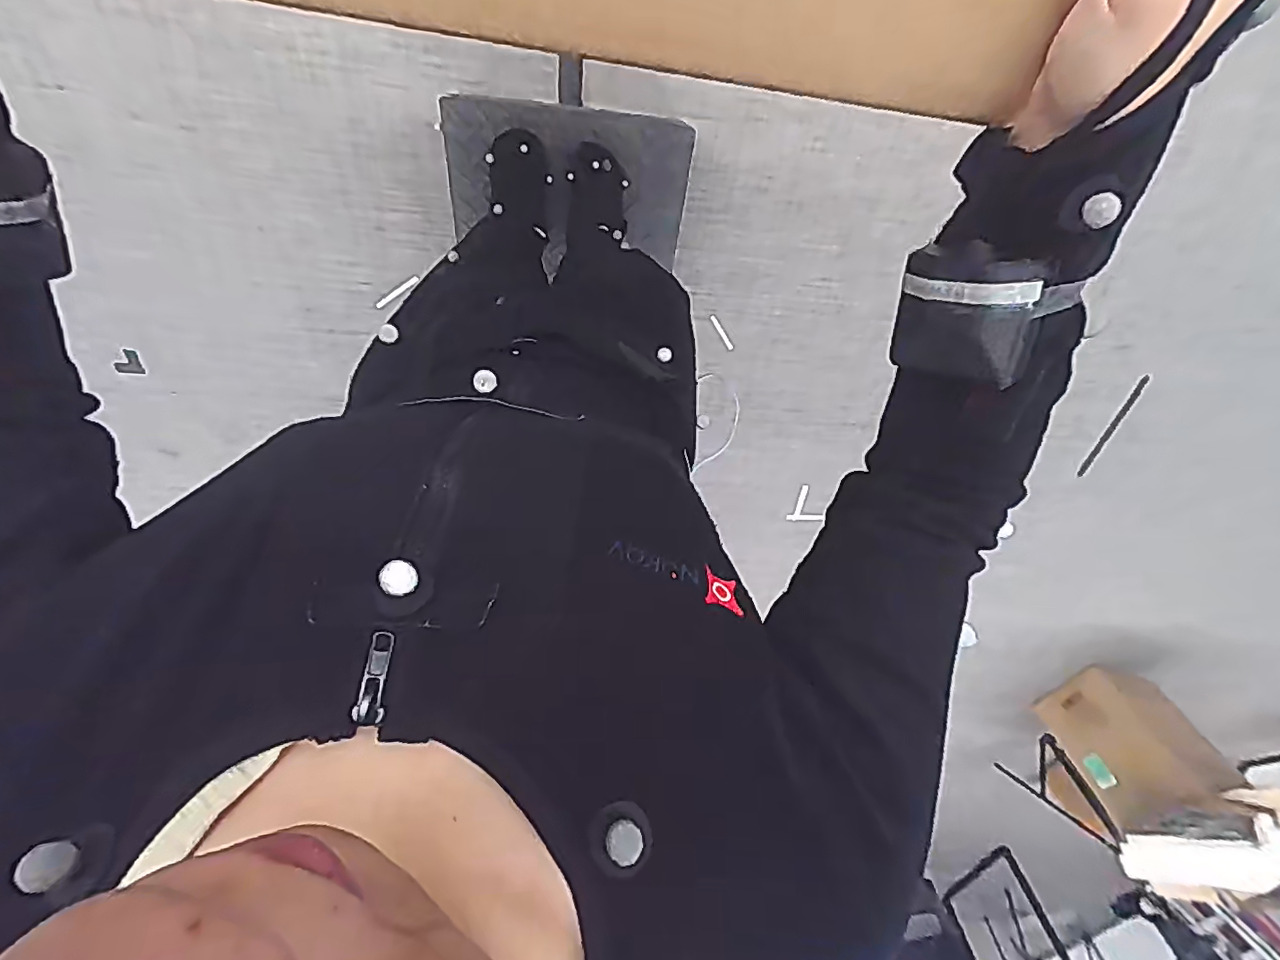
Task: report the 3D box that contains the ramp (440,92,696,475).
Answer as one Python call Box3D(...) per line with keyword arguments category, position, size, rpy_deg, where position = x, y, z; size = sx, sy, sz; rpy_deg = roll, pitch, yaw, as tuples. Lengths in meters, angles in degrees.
Box3D(category="ramp", position=(-0.187, -0.368, 1.383), size=(0.509, 0.206, 0.991), rpy_deg=(1, 127, -7))
